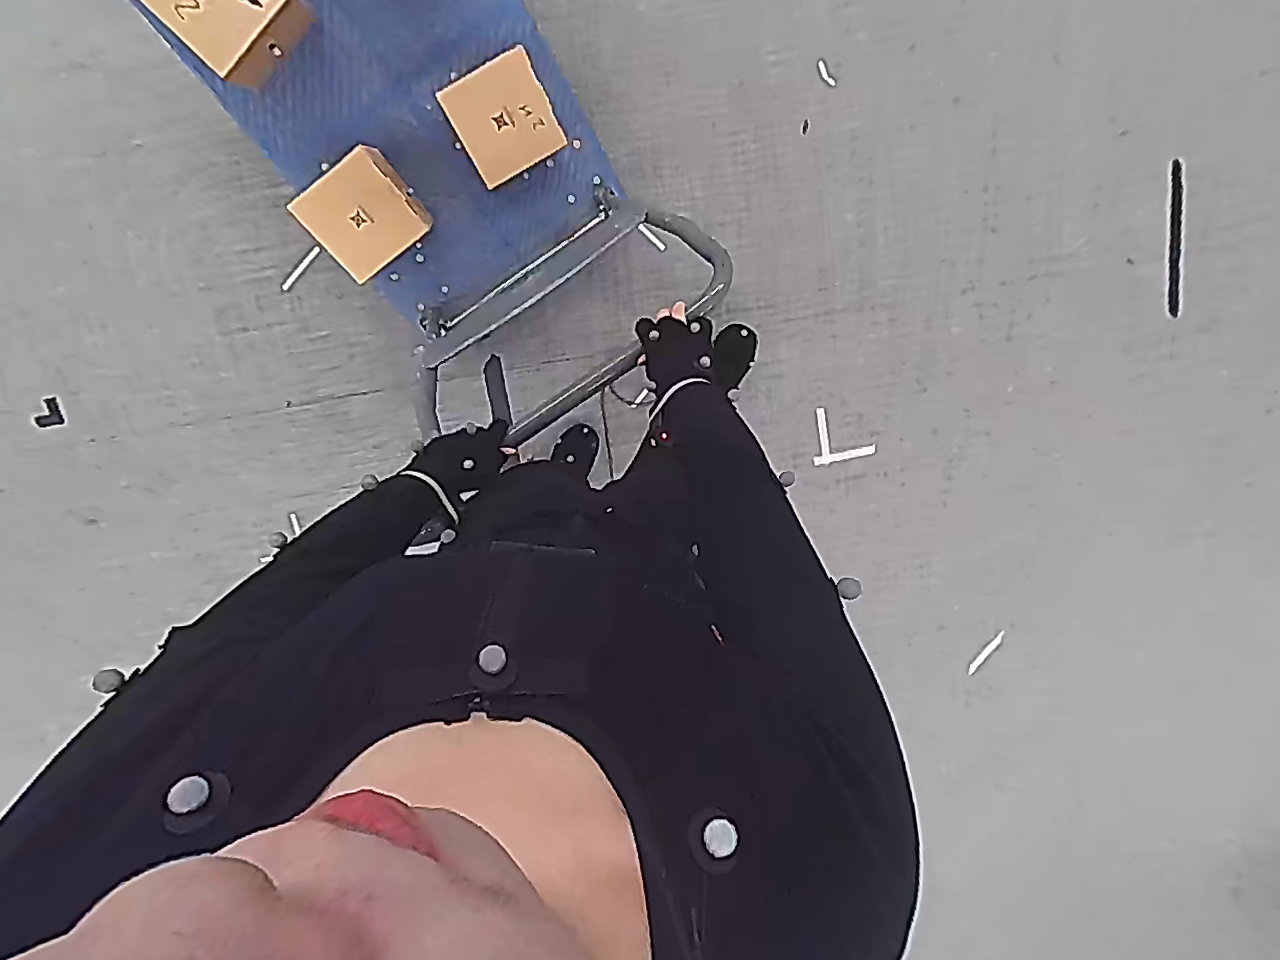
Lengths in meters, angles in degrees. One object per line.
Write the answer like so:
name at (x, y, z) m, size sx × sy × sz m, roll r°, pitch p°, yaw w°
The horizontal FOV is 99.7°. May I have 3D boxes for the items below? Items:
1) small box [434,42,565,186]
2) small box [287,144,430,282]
small box at (-0.264, -0.687, 1.034) m, size 0.179 × 0.176 × 0.168 m, roll -30°, pitch 123°, yaw 1°
small box at (-0.532, -0.516, 1.053) m, size 0.179 × 0.176 × 0.168 m, roll -37°, pitch 122°, yaw 5°
